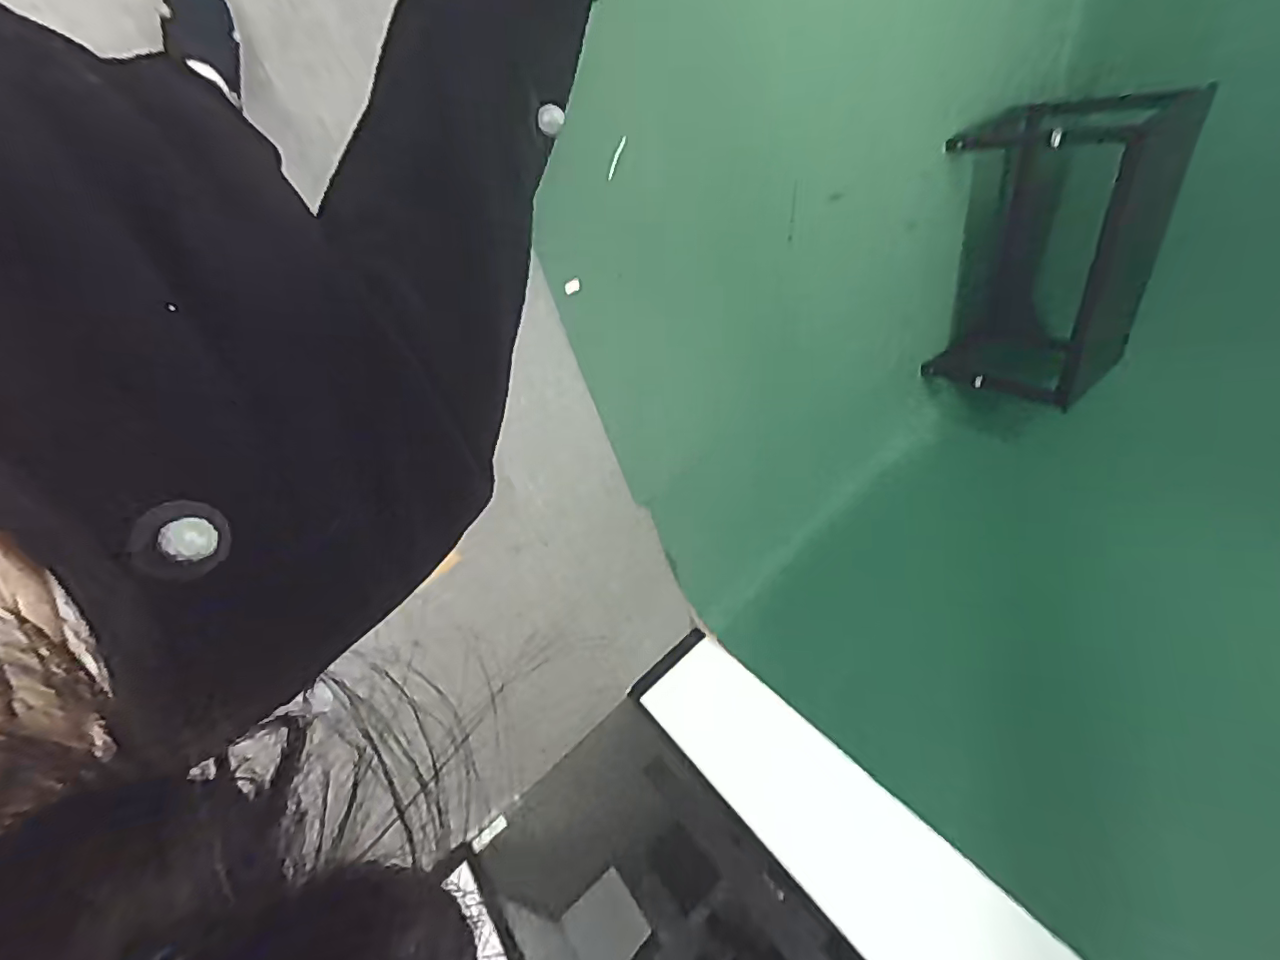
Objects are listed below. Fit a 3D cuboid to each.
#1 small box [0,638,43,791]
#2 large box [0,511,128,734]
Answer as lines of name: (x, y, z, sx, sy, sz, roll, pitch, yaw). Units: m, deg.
small box: (-1.079, 0.380, 0.844, 0.168, 0.176, 0.179, -4, 116, -38)
large box: (-1.255, 0.283, 0.987, 0.408, 0.320, 0.320, -8, 118, -35)
